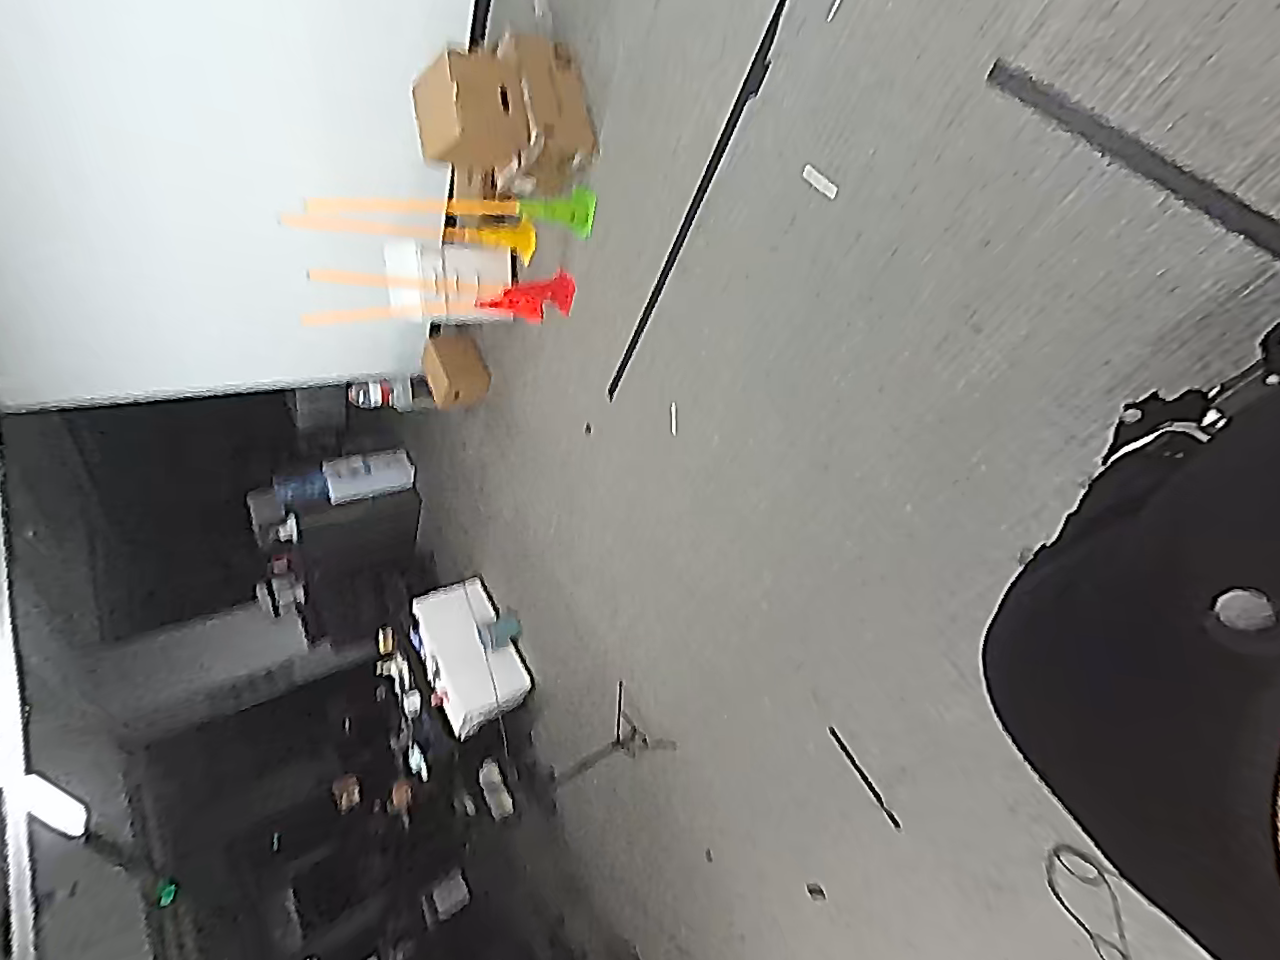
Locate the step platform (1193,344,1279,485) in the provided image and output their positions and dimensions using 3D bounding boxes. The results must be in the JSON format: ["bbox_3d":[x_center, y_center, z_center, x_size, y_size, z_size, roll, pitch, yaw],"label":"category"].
[{"bbox_3d":[1.342,-0.261,0.860,0.286,0.204,0.684,53,136,25],"label":"step platform"}]
